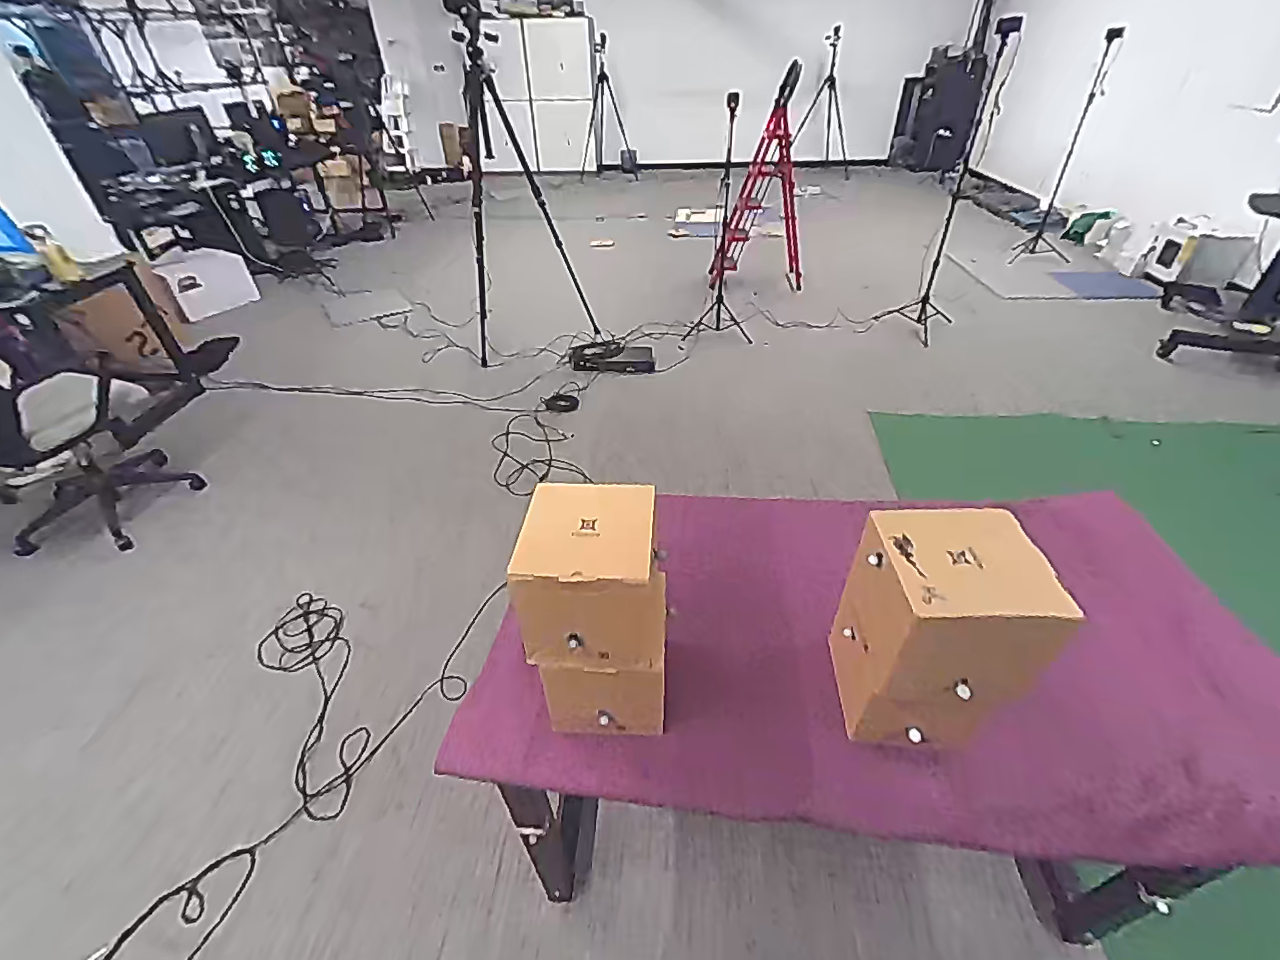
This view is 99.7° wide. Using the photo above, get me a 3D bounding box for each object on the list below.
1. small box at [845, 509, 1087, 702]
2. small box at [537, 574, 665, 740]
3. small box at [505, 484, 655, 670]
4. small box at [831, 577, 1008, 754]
[{"bbox_3d":[0.372,0.153,0.661,0.179,0.176,0.168,0,38,3],"label":"small box"},{"bbox_3d":[-0.047,0.257,0.807,0.168,0.176,0.179,0,37,4],"label":"small box"},{"bbox_3d":[-0.066,0.124,0.715,0.168,0.176,0.179,1,37,3],"label":"small box"},{"bbox_3d":[0.387,0.265,0.783,0.168,0.176,0.179,2,39,6],"label":"small box"}]
